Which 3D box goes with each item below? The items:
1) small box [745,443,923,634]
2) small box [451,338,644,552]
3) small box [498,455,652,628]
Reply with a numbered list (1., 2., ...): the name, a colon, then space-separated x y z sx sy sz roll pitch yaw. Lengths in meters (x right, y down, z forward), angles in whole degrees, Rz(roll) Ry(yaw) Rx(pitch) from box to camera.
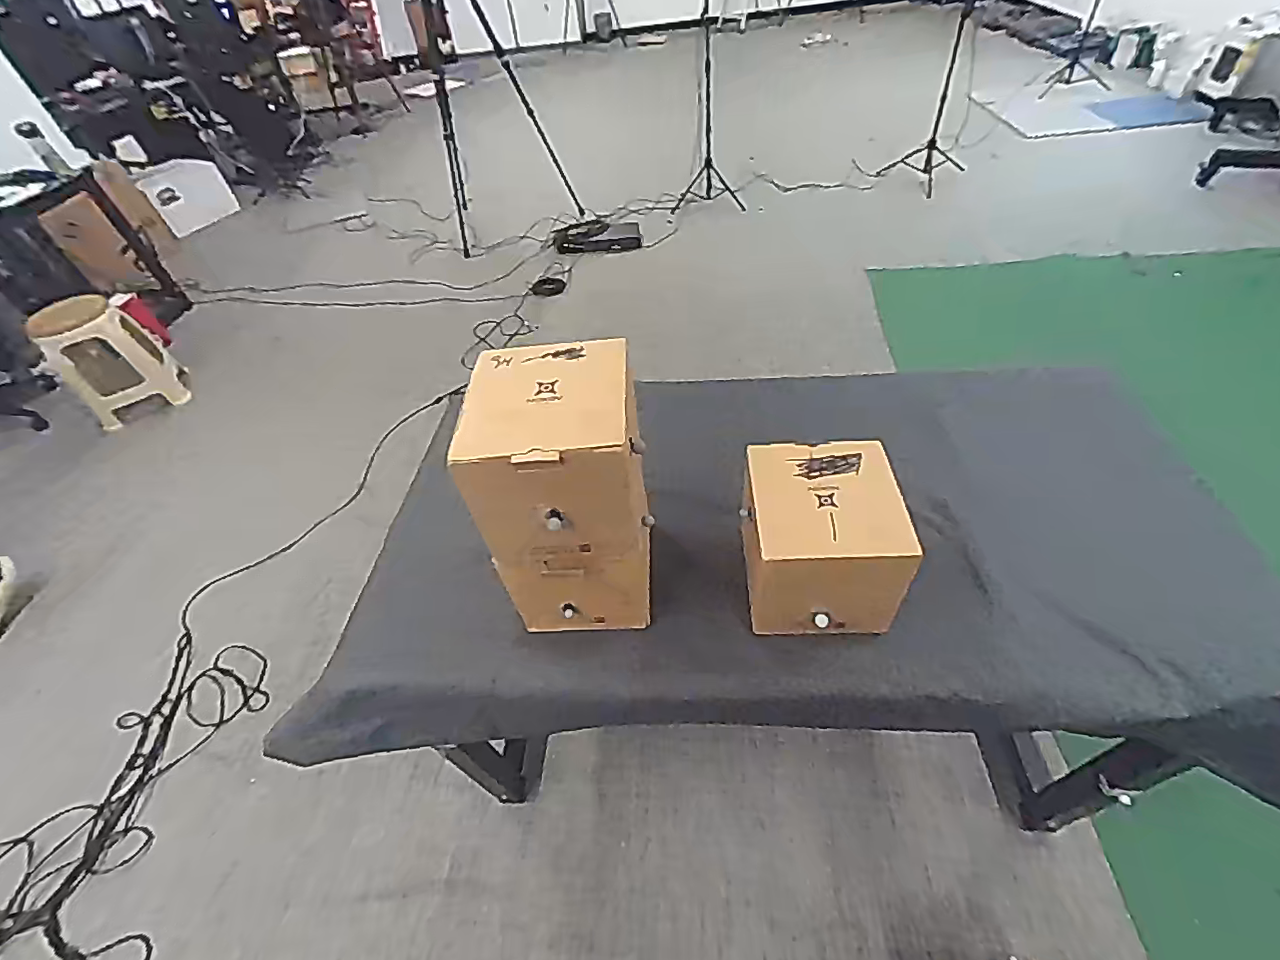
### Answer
1. small box: 0.223 0.073 0.680 0.168 0.176 0.179 -2 47 6
2. small box: -0.084 -0.031 0.599 0.168 0.176 0.179 -4 48 4
3. small box: -0.073 0.078 0.721 0.168 0.176 0.179 -3 47 4
